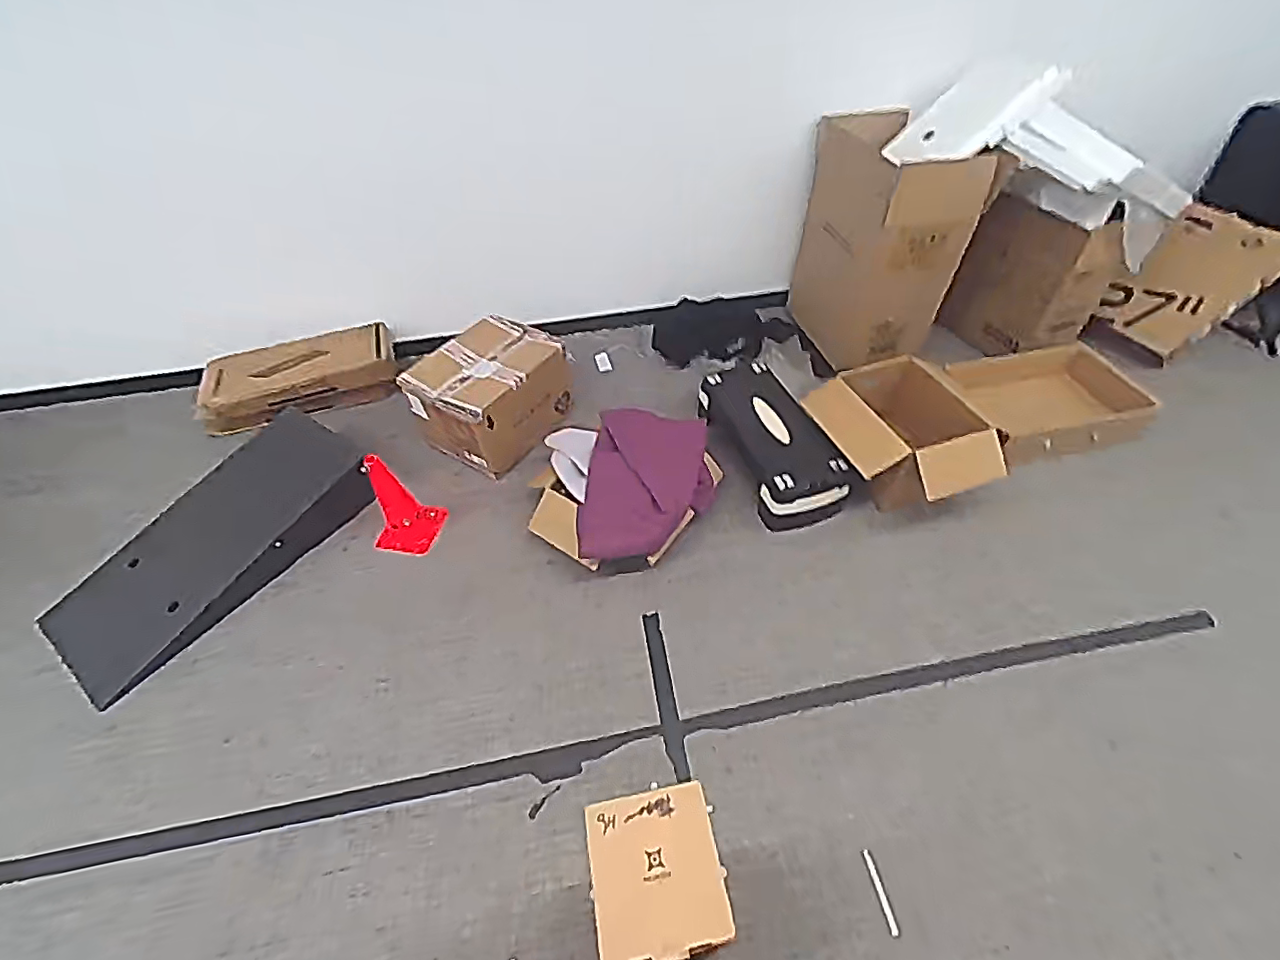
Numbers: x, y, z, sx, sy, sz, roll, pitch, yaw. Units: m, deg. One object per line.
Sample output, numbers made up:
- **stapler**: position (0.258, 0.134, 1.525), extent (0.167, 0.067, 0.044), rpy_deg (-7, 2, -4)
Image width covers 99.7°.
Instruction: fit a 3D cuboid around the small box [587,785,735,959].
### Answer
- **small box**: position (0.025, 0.548, 0.747), extent (0.168, 0.176, 0.179), rpy_deg (-9, 49, -5)
